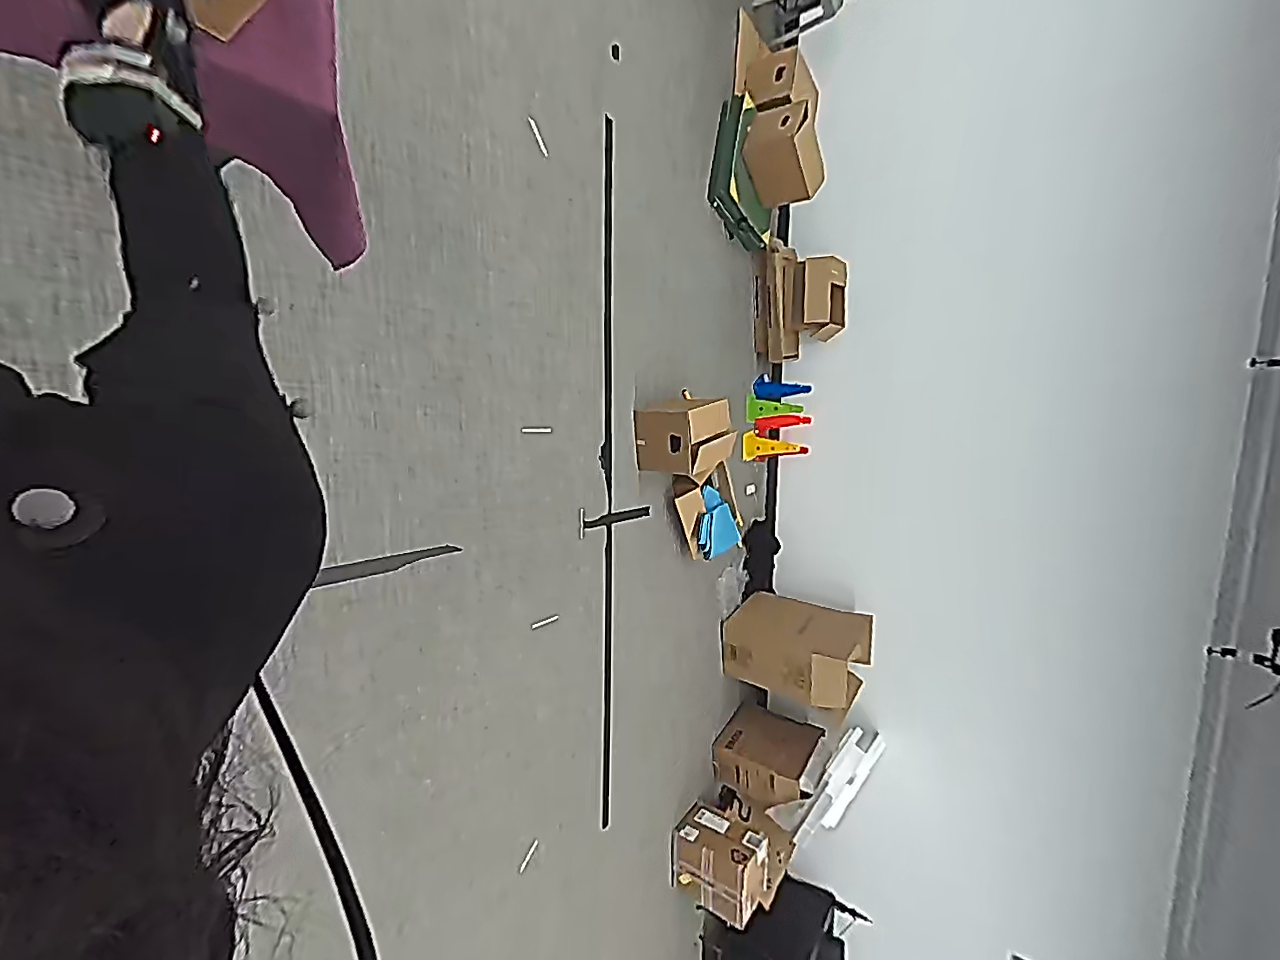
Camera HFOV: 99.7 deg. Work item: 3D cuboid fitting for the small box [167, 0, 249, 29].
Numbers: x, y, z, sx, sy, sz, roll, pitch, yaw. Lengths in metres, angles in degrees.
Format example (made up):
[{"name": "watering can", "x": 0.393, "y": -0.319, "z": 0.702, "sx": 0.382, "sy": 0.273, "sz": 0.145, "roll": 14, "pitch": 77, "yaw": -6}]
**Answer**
[{"name": "small box", "x": -0.481, "y": -0.621, "z": 0.547, "sx": 0.168, "sy": 0.176, "sz": 0.179, "roll": 6, "pitch": 88, "yaw": -57}]
